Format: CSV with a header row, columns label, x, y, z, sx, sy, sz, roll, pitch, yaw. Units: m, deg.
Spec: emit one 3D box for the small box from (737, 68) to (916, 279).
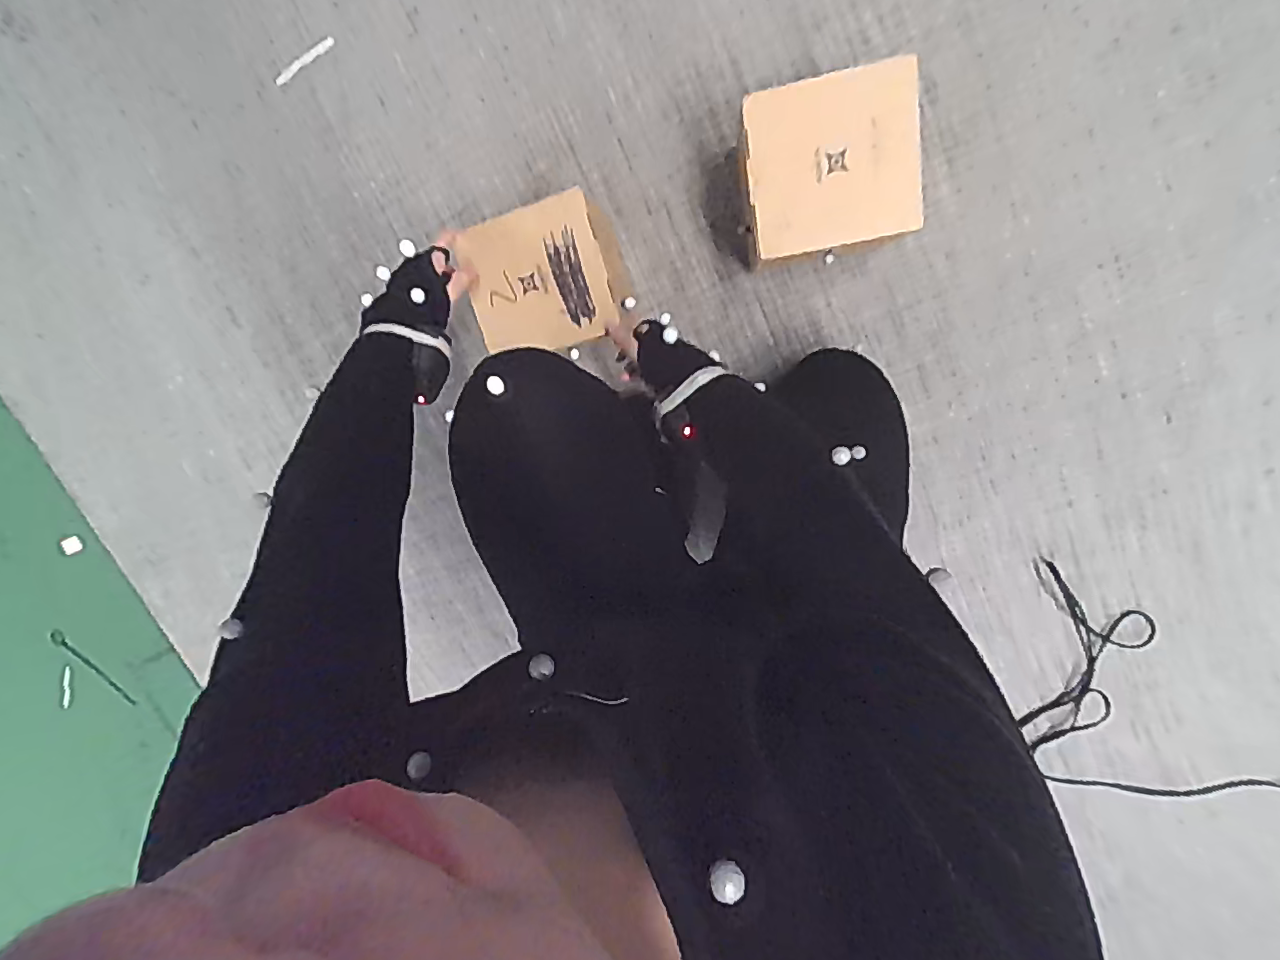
label,x,y,z,sx,sy,sz,roll,pitch,yaw
small box,0.211,-0.347,0.652,0.179,0.176,0.168,-7,105,10
